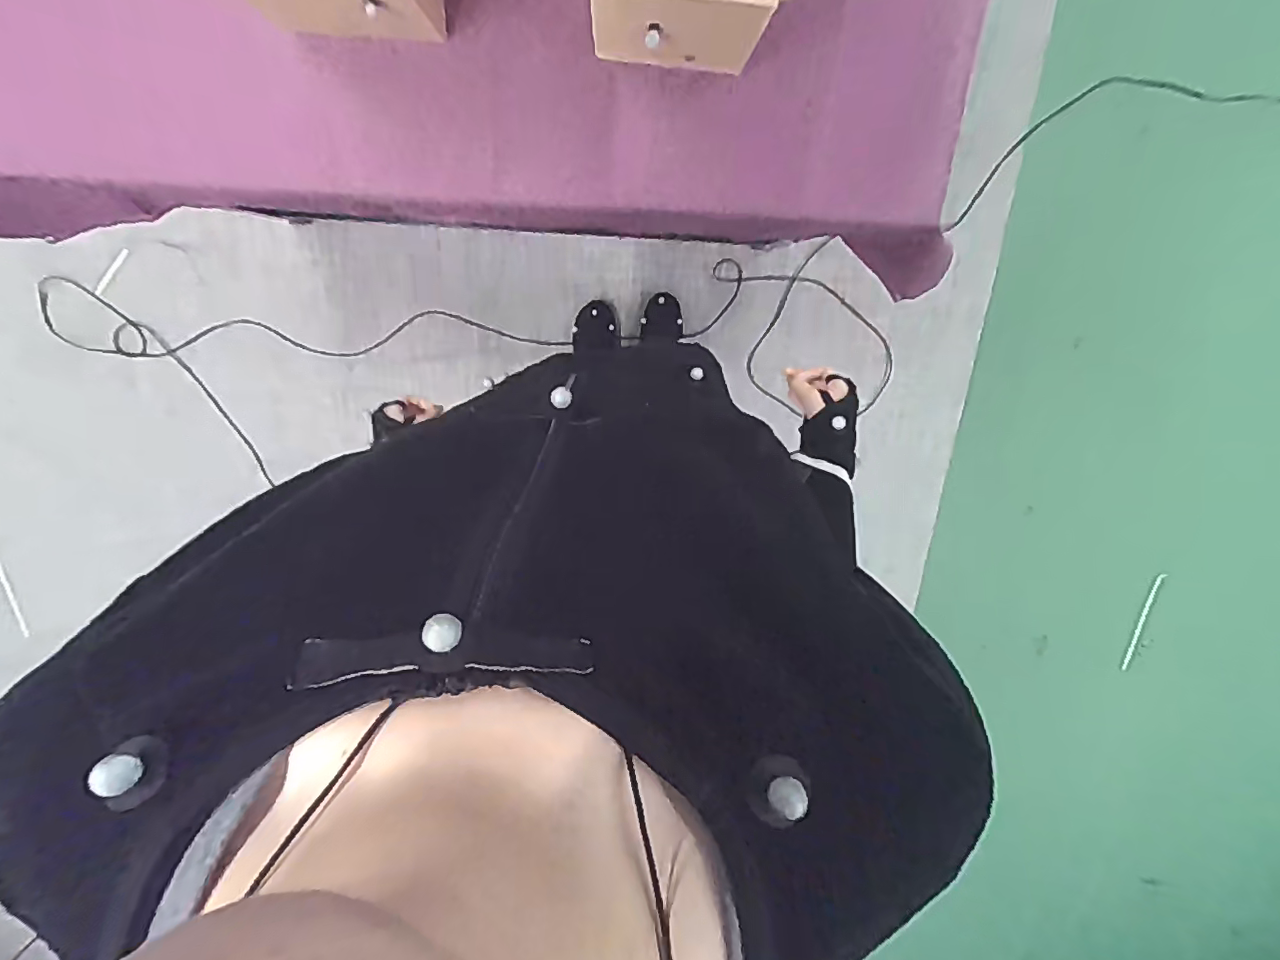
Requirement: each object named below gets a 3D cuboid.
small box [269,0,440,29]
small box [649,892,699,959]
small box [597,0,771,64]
[{"bbox_3d":[-0.288,-0.544,0.486,0.179,0.176,0.168,2,108,-3],"label":"small box"},{"bbox_3d":[0.125,1.732,2.085,0.179,0.176,0.168,0,109,-4],"label":"small box"},{"bbox_3d":[0.047,-0.528,0.507,0.168,0.176,0.179,4,108,-4],"label":"small box"}]
